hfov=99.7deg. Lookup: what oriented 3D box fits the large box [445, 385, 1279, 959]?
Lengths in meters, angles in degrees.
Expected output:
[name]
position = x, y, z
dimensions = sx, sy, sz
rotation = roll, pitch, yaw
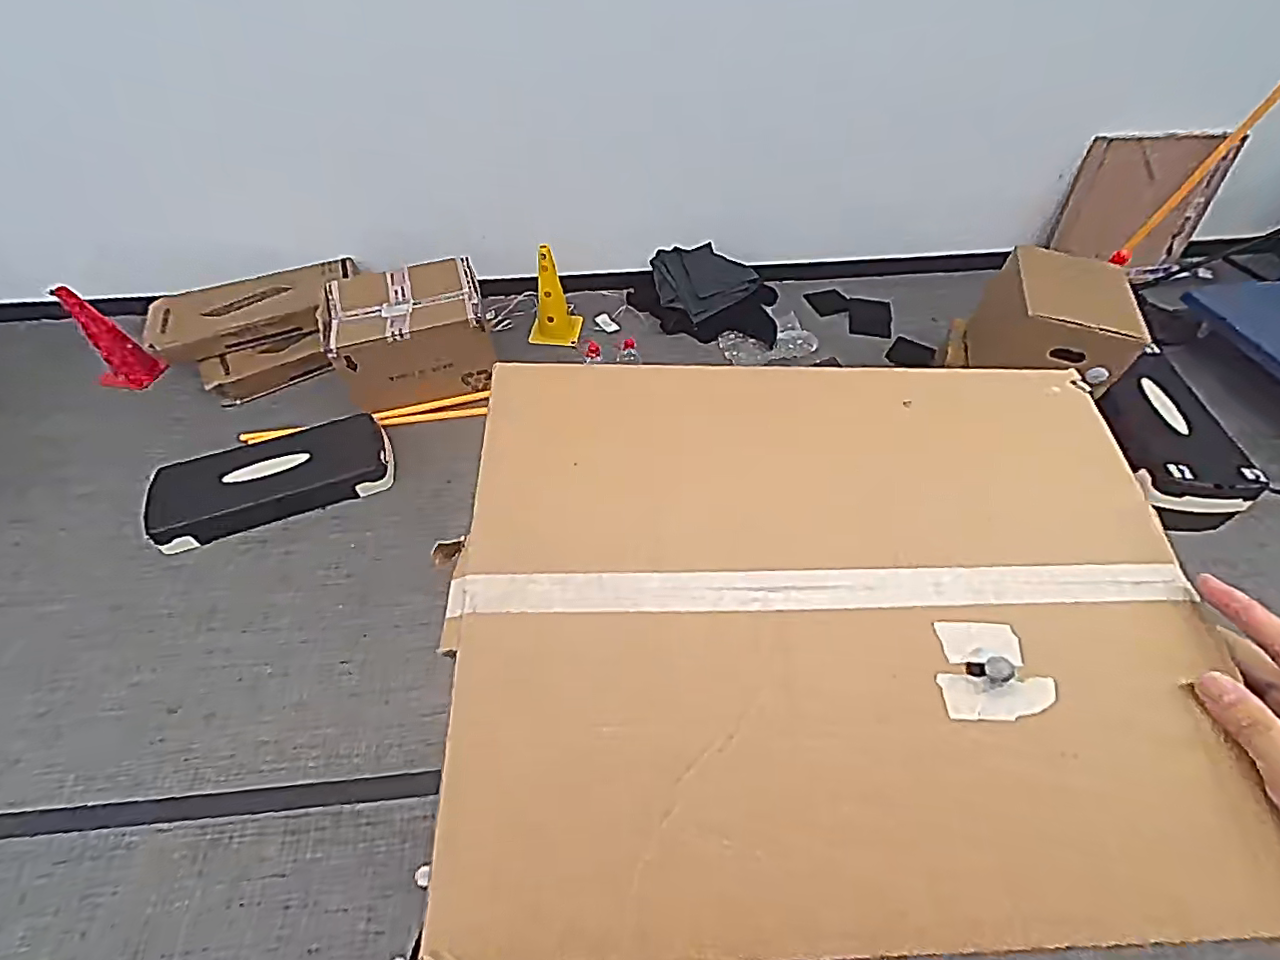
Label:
[large box]
position = 0.096, 0.139, 0.440
dimensions = 0.408, 0.320, 0.320
rotation = 0, 63, -4
